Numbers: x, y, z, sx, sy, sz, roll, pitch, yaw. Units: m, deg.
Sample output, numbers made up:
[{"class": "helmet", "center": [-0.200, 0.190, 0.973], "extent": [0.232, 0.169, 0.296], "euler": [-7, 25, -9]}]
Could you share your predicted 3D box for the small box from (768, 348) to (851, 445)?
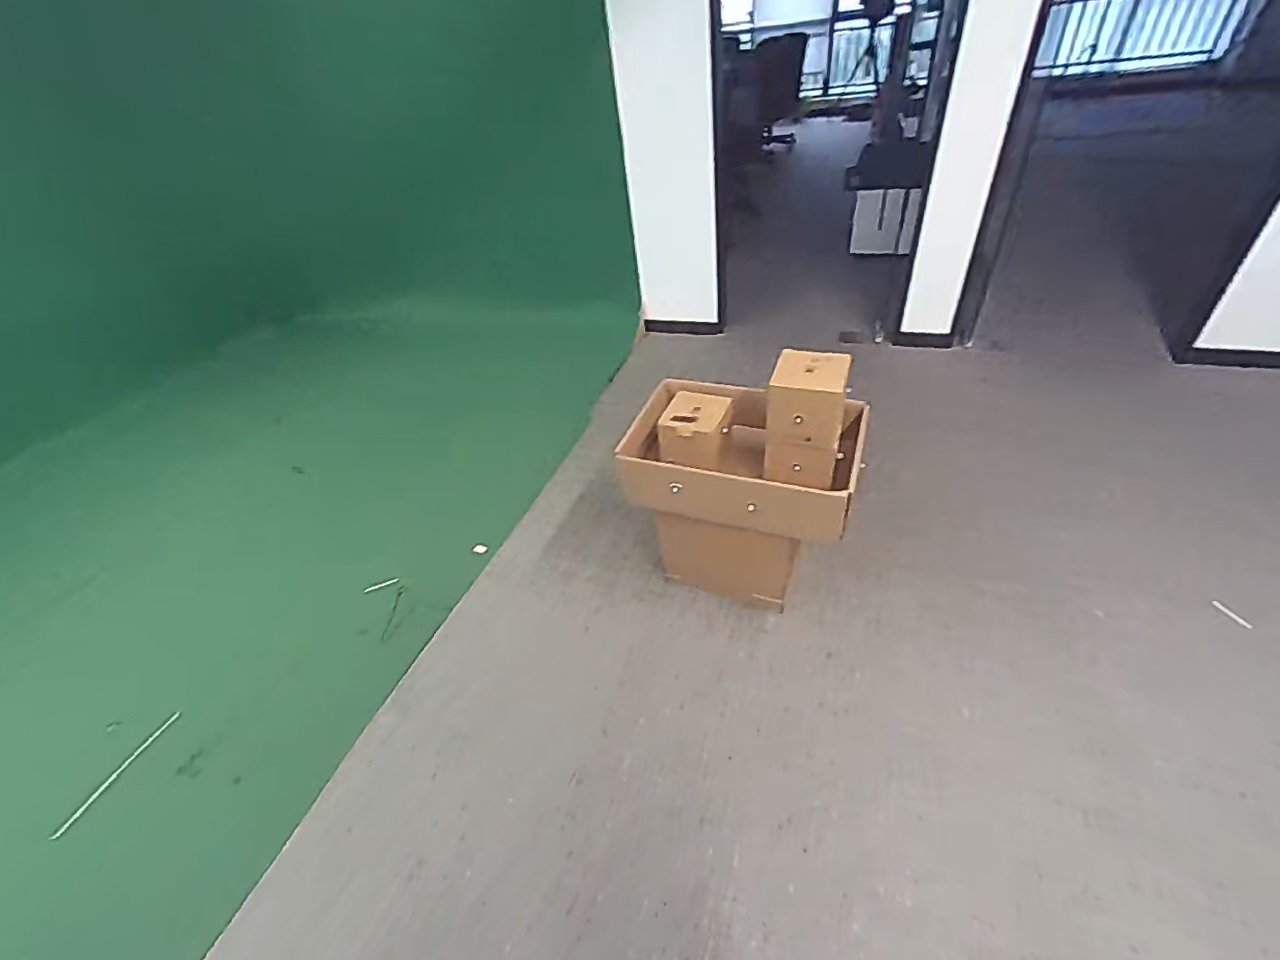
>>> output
[{"class": "small box", "center": [0.420, -0.207, 1.347], "extent": [0.168, 0.176, 0.179], "euler": [11, 45, 21]}]
